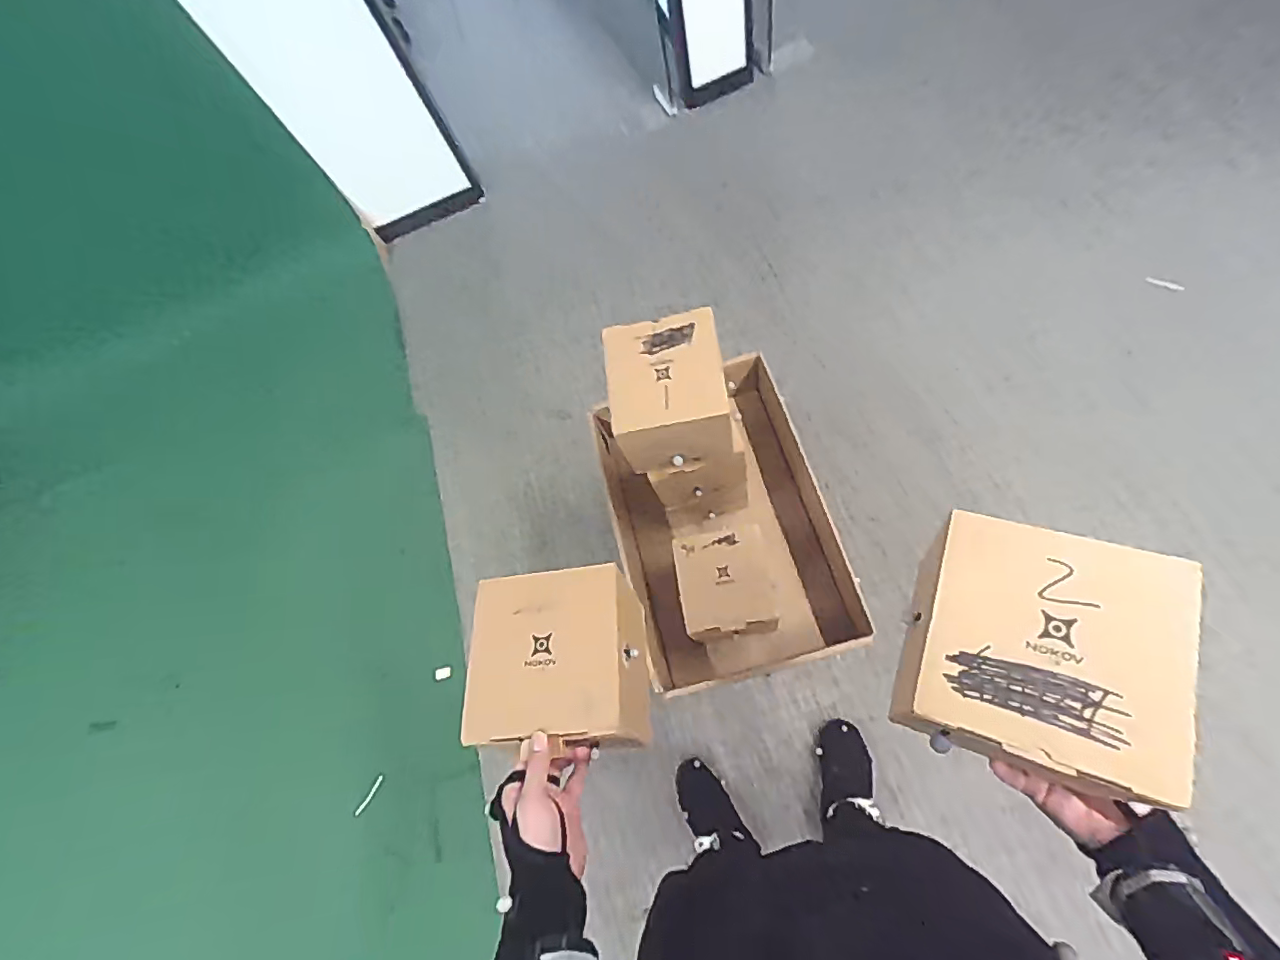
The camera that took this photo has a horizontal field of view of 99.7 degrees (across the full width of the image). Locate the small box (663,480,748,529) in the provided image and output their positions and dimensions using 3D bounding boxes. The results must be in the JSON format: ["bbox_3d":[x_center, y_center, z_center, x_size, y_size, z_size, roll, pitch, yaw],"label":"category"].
[{"bbox_3d":[0.121,-0.017,1.136,0.168,0.176,0.179,-18,67,6],"label":"small box"}]

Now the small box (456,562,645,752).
[{"bbox_3d":[-0.091,0.216,0.635,0.168,0.176,0.179,-8,57,9],"label":"small box"}]

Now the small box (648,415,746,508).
[{"bbox_3d":[0.088,-0.070,0.987,0.168,0.176,0.179,-18,68,5],"label":"small box"}]

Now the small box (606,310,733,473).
[{"bbox_3d":[0.050,-0.129,0.839,0.168,0.176,0.179,-9,69,9],"label":"small box"}]
